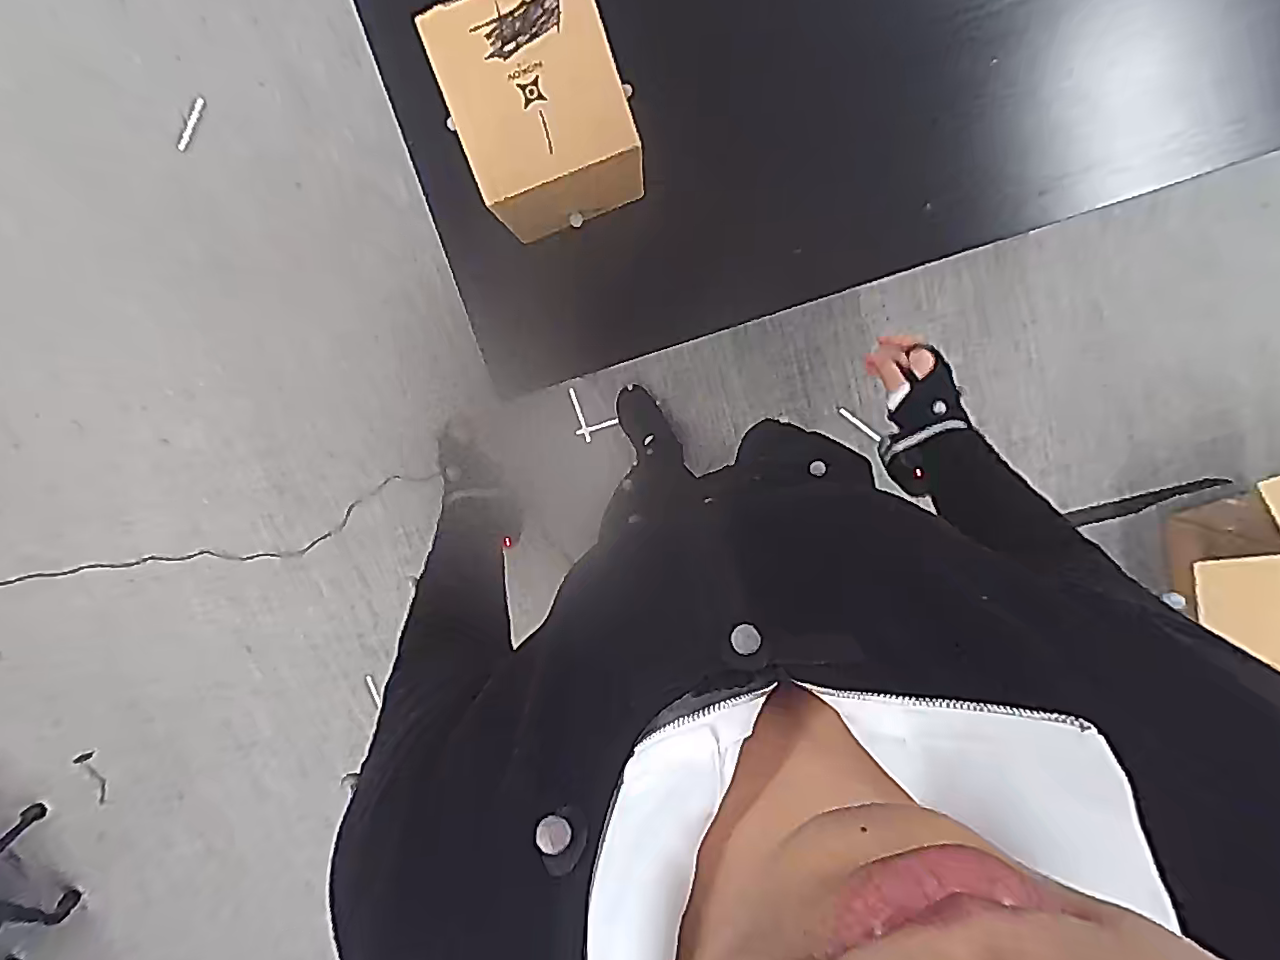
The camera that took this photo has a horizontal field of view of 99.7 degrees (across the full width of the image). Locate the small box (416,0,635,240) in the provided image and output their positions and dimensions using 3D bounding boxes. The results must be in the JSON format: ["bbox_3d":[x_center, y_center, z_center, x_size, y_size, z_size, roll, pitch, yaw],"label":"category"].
[{"bbox_3d":[-0.109,-0.395,0.598,0.168,0.176,0.179,-19,102,5],"label":"small box"}]
